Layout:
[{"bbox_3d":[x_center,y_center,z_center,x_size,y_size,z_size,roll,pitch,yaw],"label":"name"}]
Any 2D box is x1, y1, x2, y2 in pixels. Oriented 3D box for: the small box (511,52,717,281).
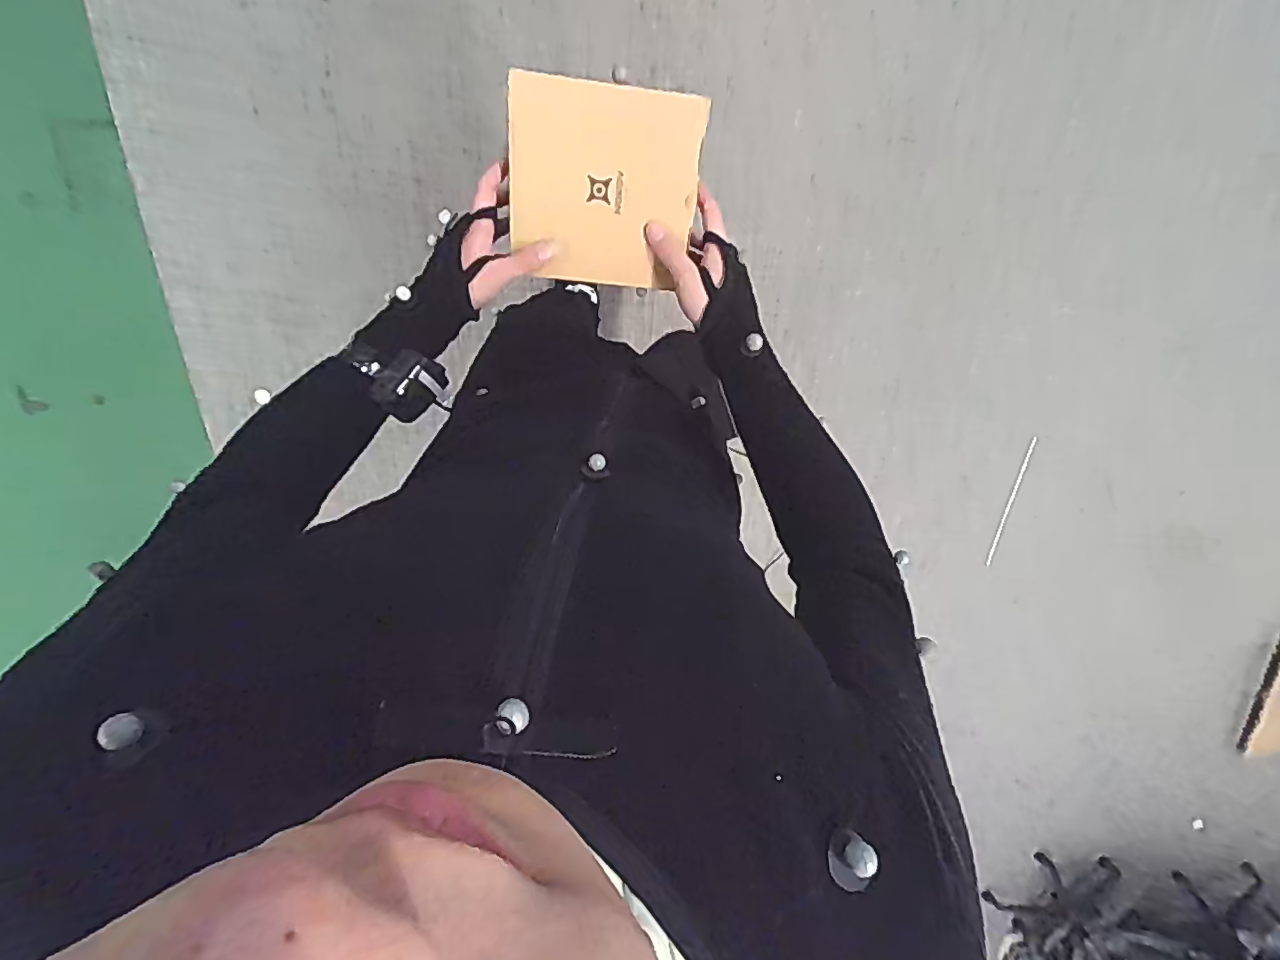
[{"bbox_3d":[-0.034,-0.314,0.560,0.179,0.176,0.168,3,120,-7],"label":"small box"}]
